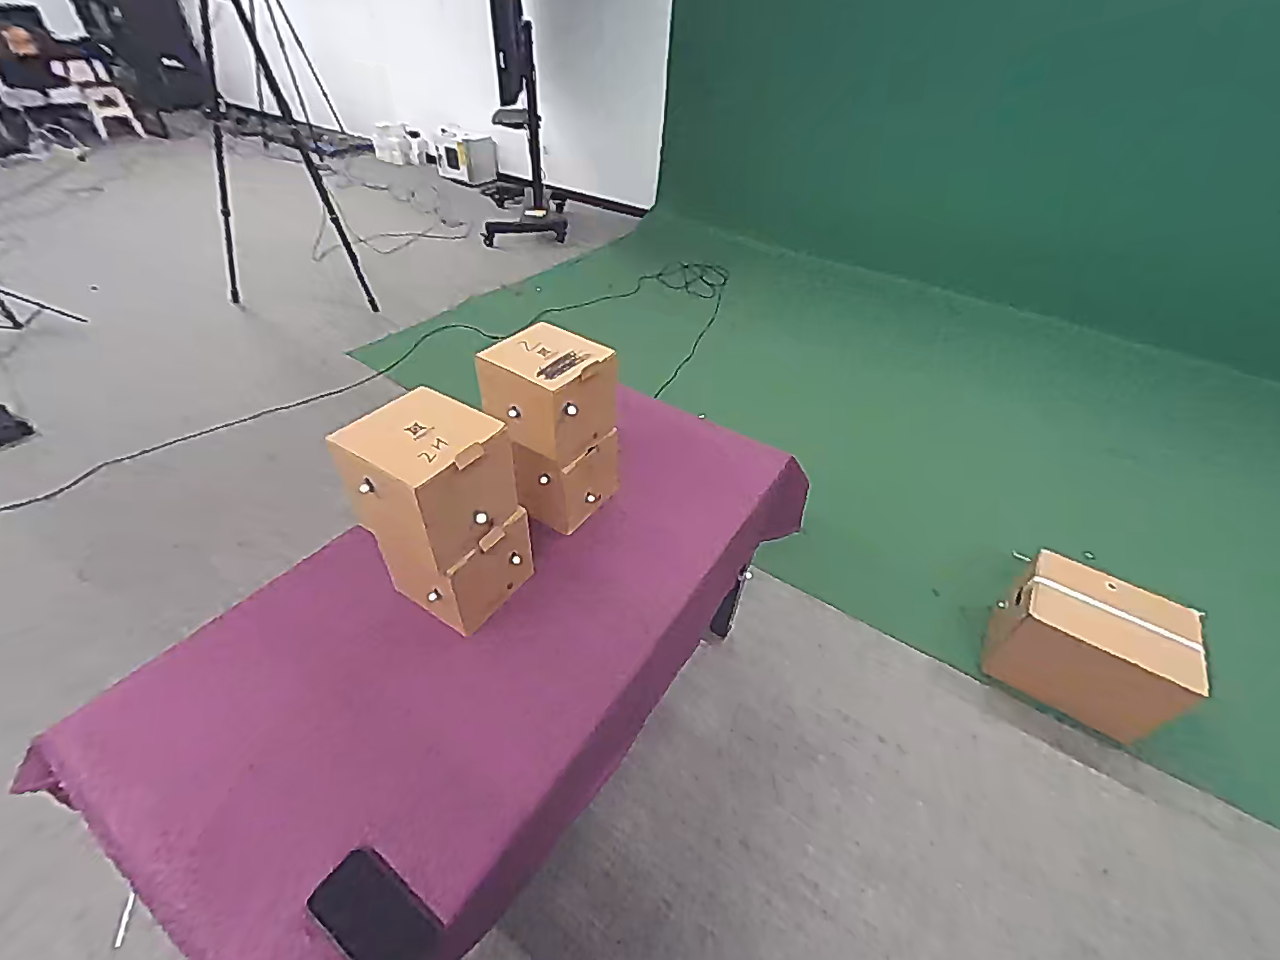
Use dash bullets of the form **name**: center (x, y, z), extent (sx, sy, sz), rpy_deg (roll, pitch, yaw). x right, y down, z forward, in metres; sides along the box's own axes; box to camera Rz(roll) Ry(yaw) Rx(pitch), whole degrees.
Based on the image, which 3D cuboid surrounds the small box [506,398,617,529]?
- **small box**: center (-0.164, -0.032, 1.075), extent (0.179, 0.176, 0.168), rpy_deg (26, 47, 21)

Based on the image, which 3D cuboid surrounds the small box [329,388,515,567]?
- **small box**: center (-0.305, -0.003, 0.789), extent (0.179, 0.176, 0.168), rpy_deg (25, 46, 21)

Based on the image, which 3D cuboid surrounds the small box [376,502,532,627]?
- **small box**: center (-0.299, 0.117, 0.902), extent (0.179, 0.176, 0.168), rpy_deg (25, 46, 22)
